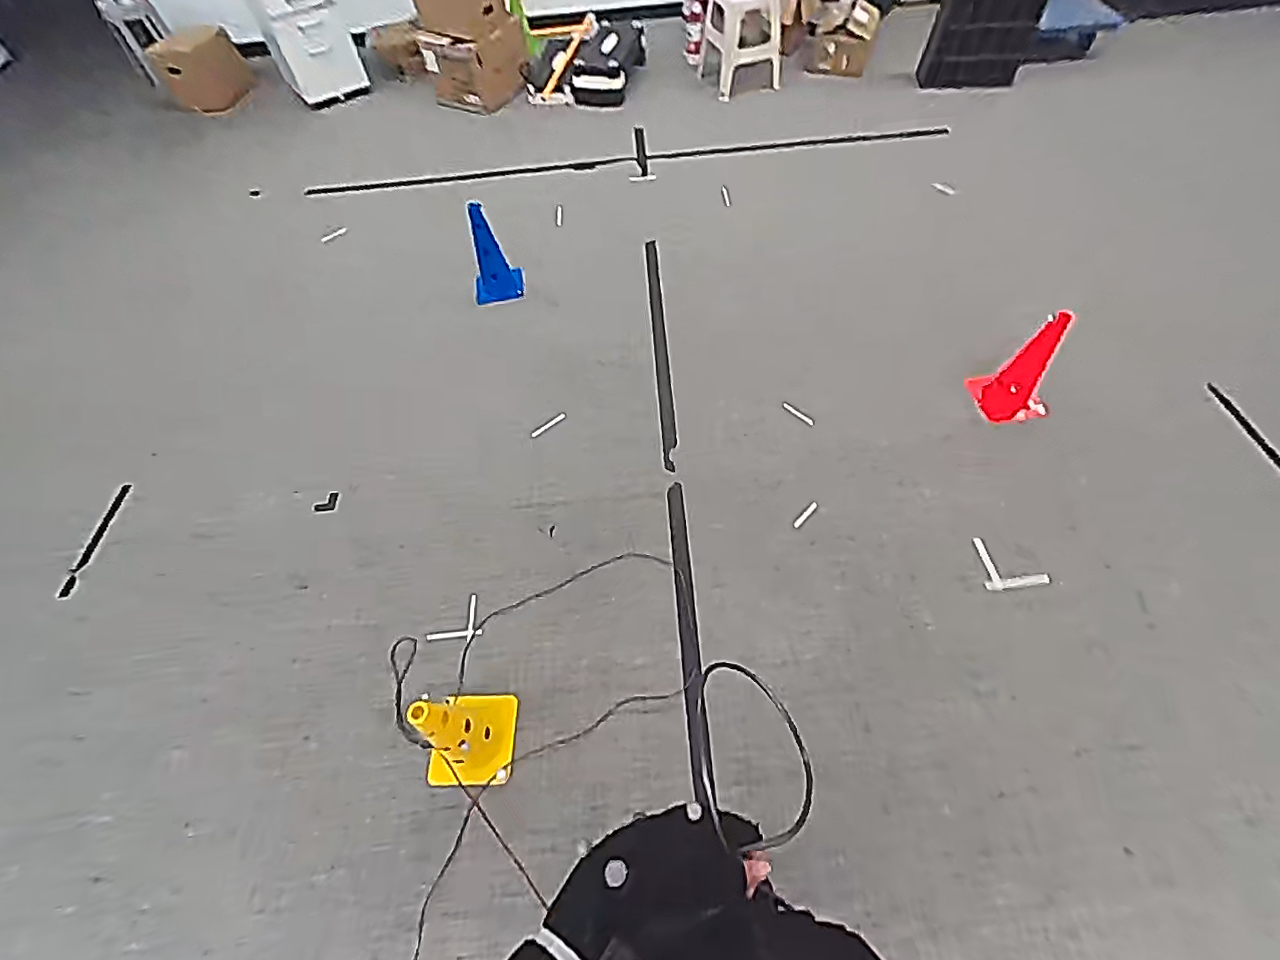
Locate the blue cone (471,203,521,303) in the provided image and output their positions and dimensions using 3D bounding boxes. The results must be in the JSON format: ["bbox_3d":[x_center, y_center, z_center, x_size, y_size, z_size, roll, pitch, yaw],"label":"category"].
[{"bbox_3d":[-0.610,-0.913,2.157,0.192,0.380,0.193,-9,57,-2],"label":"blue cone"}]

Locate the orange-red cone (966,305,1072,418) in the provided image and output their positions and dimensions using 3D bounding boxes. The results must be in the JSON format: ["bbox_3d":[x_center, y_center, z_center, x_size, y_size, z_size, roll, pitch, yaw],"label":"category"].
[{"bbox_3d":[1.213,-0.387,1.675,0.198,0.360,0.199,-8,55,-2],"label":"orange-red cone"}]
